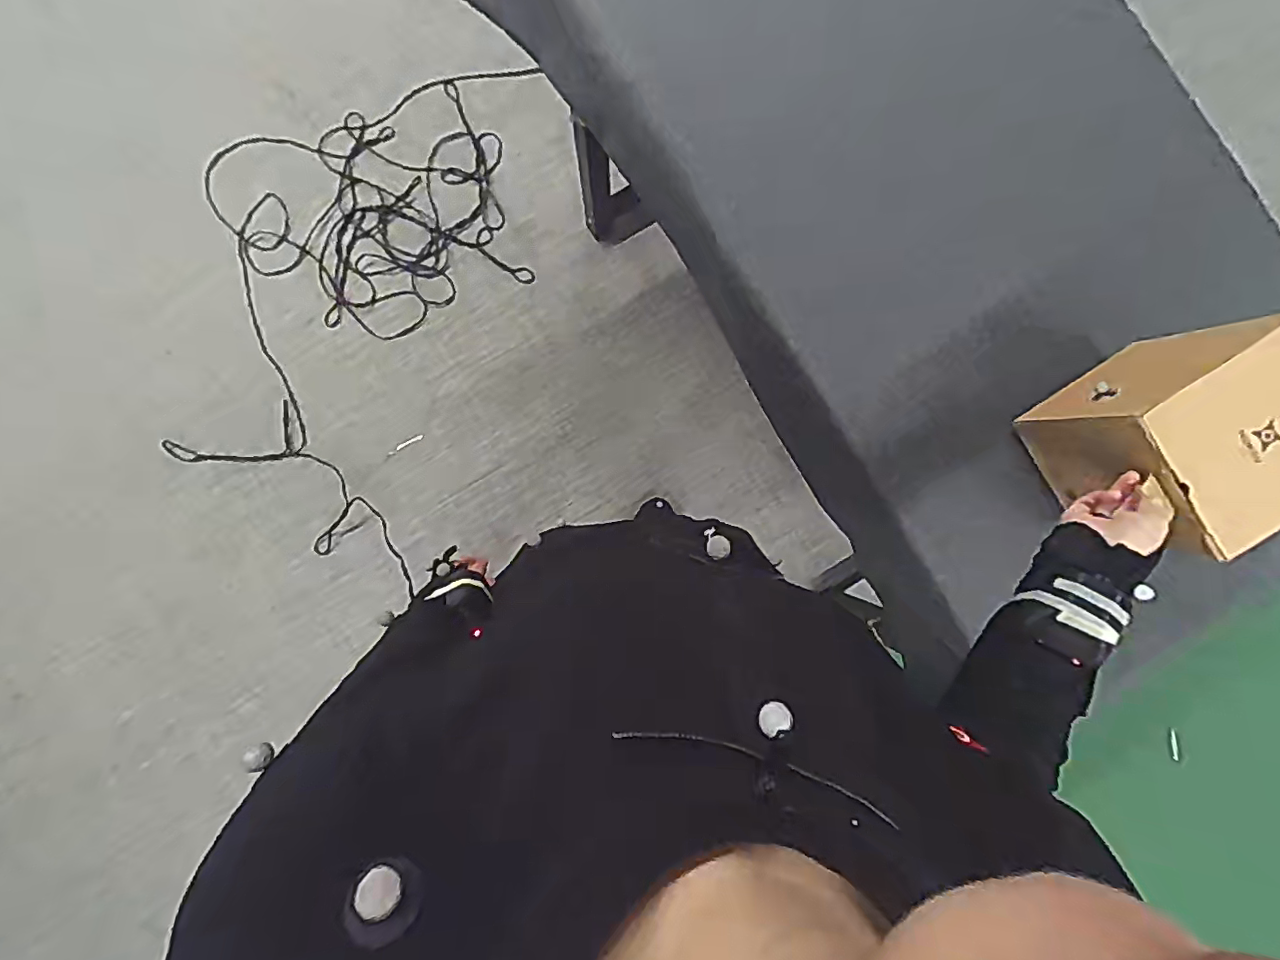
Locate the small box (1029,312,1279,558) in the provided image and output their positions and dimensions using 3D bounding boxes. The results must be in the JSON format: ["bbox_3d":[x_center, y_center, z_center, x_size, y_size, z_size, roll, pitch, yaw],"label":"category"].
[{"bbox_3d":[0.560,-0.045,0.569,0.179,0.176,0.168,-34,95,1],"label":"small box"}]
